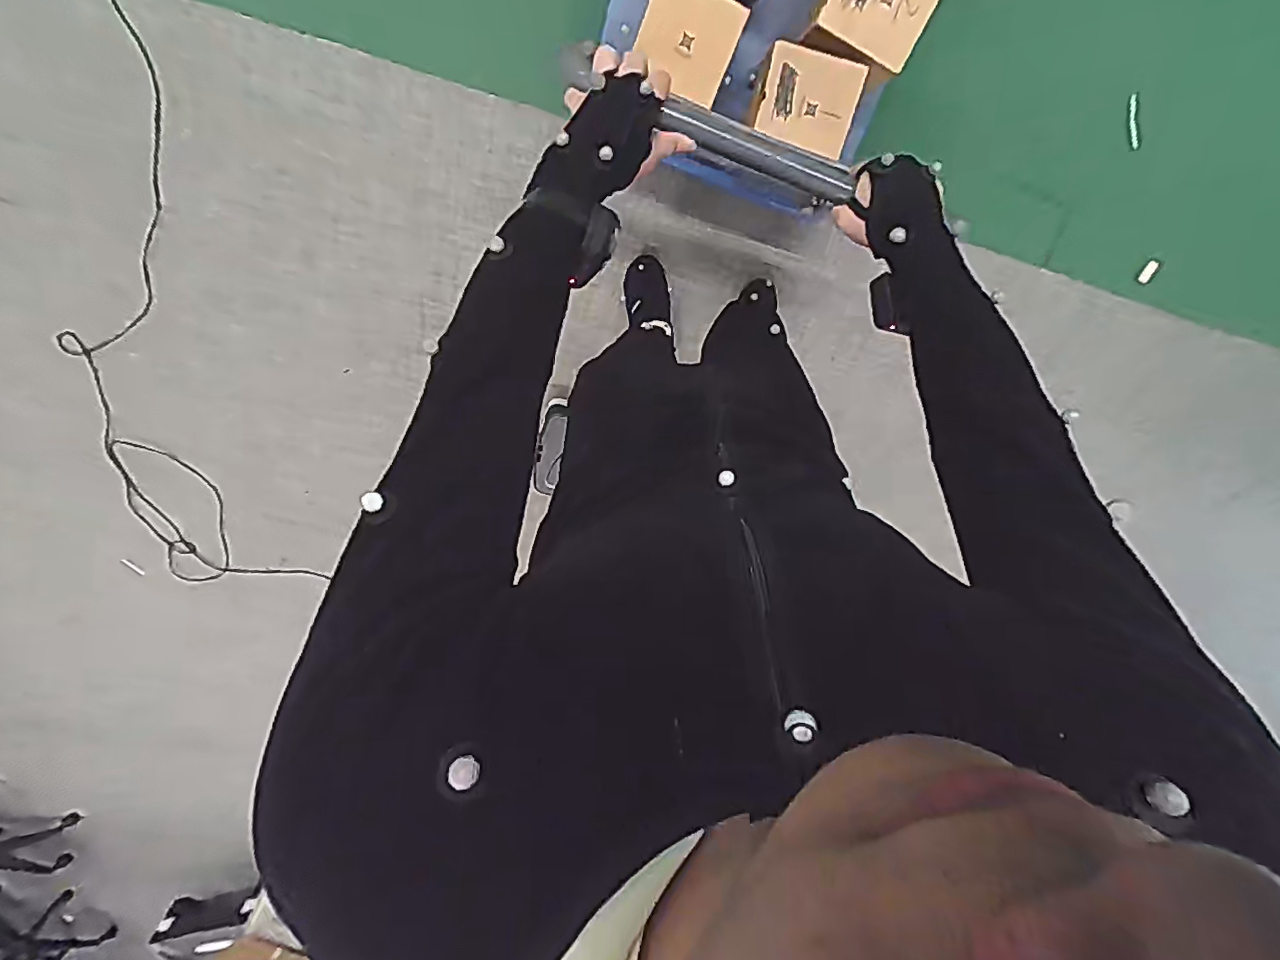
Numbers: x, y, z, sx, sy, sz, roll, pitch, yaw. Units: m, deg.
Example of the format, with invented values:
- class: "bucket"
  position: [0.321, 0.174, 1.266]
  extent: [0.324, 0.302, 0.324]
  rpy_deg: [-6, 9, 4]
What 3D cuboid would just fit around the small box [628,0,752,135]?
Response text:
- class: "small box"
  position: [0.083, -0.784, 1.013]
  extent: [0.168, 0.176, 0.179]
  rpy_deg: [21, 115, -10]
